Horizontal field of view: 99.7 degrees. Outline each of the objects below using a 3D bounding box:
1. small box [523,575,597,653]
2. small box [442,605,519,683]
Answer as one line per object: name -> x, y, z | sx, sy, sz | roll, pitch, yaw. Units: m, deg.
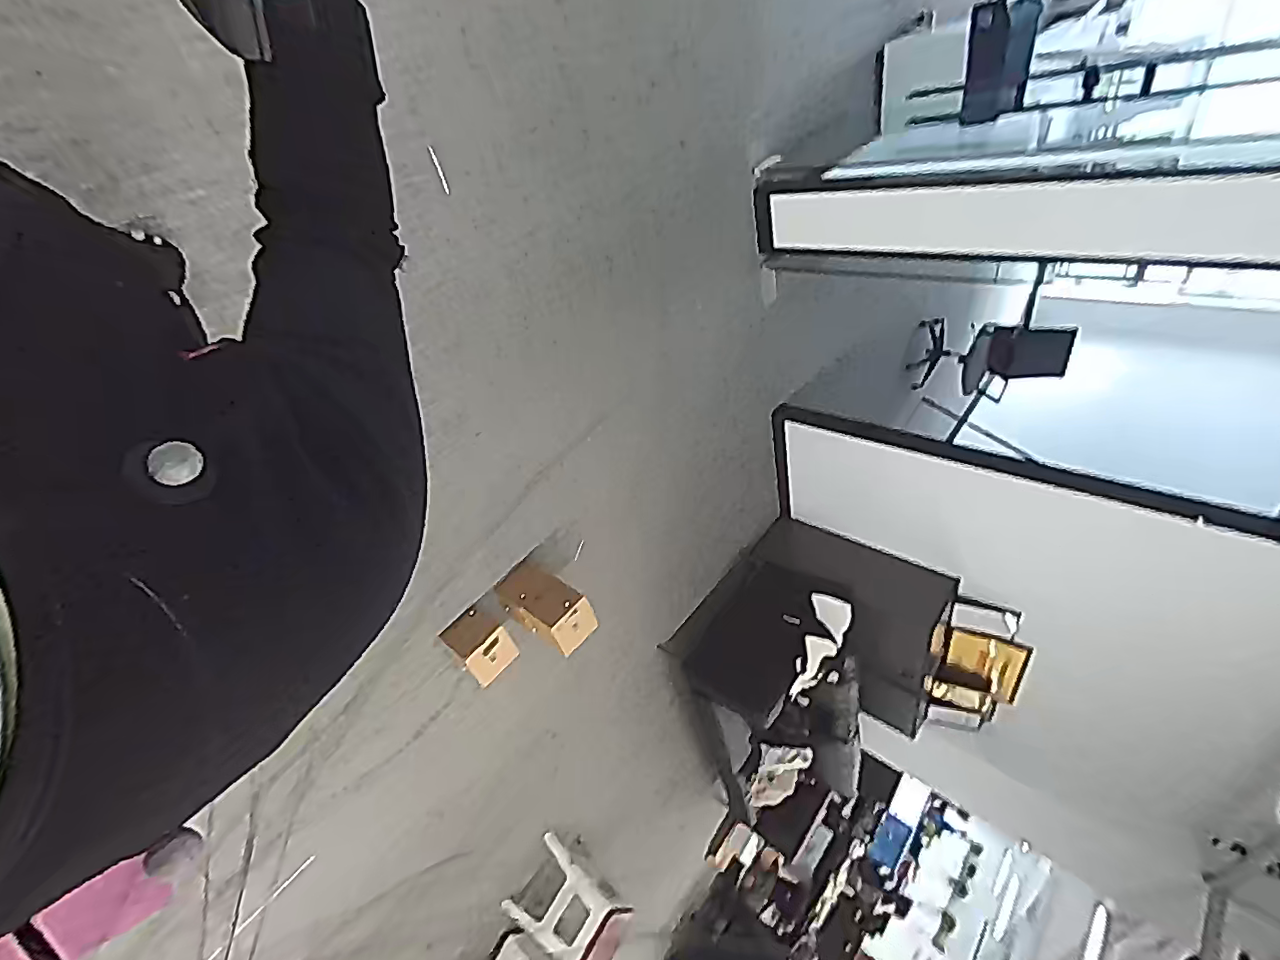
small box -> -0.284, 0.471, 1.920 | 0.168, 0.176, 0.179 | -42, 136, -29
small box -> -0.562, 0.566, 1.898 | 0.168, 0.176, 0.179 | -43, 136, -28
